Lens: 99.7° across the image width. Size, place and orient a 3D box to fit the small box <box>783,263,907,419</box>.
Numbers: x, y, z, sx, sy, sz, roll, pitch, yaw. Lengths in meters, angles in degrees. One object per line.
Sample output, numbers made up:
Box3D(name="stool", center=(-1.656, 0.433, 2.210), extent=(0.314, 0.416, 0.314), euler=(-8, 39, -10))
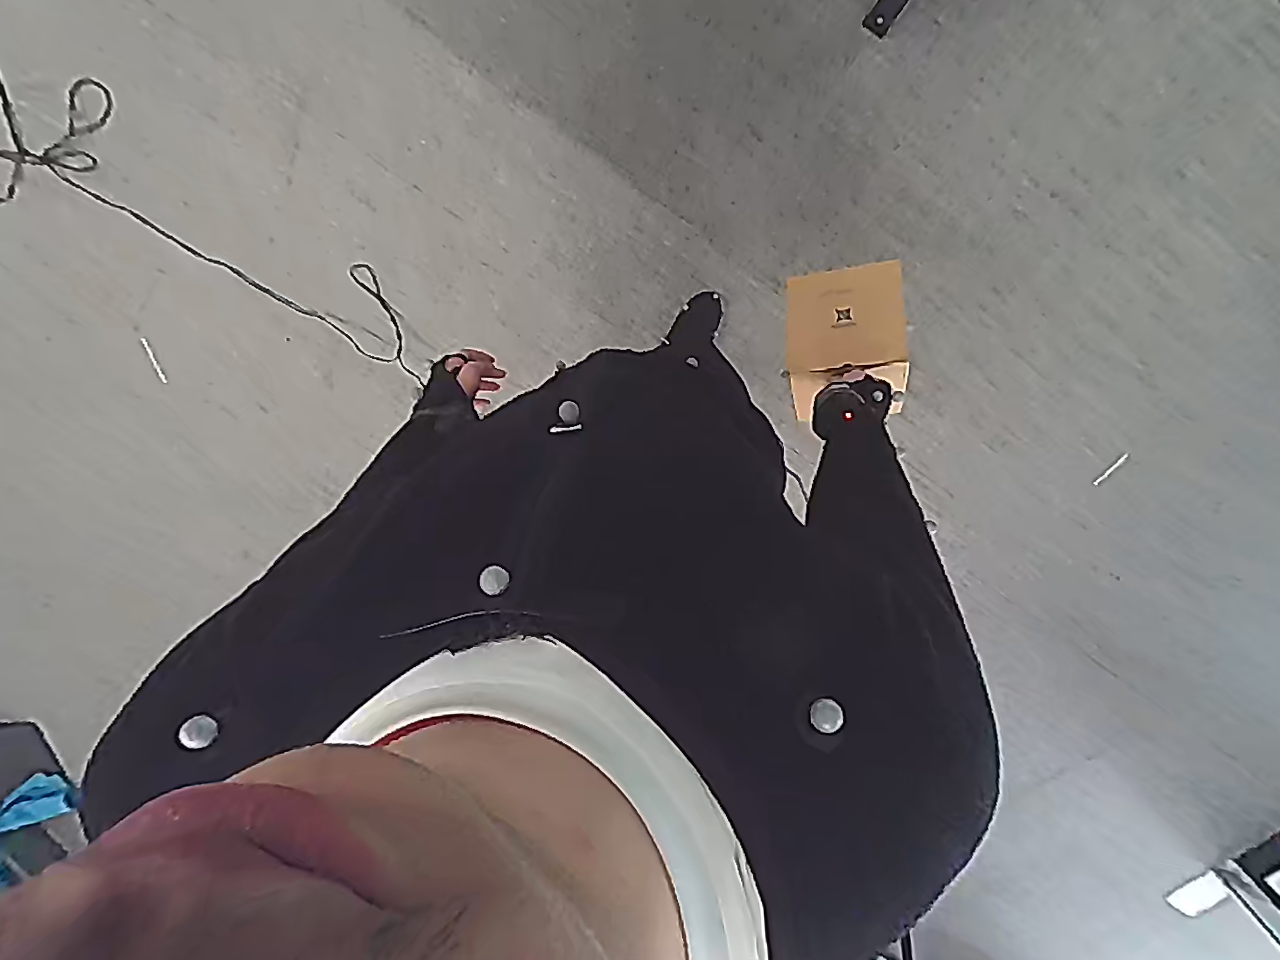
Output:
Box3D(name="small box", center=(0.322, -0.207, 0.862), extent=(0.168, 0.176, 0.179), euler=(-3, 68, 18))
